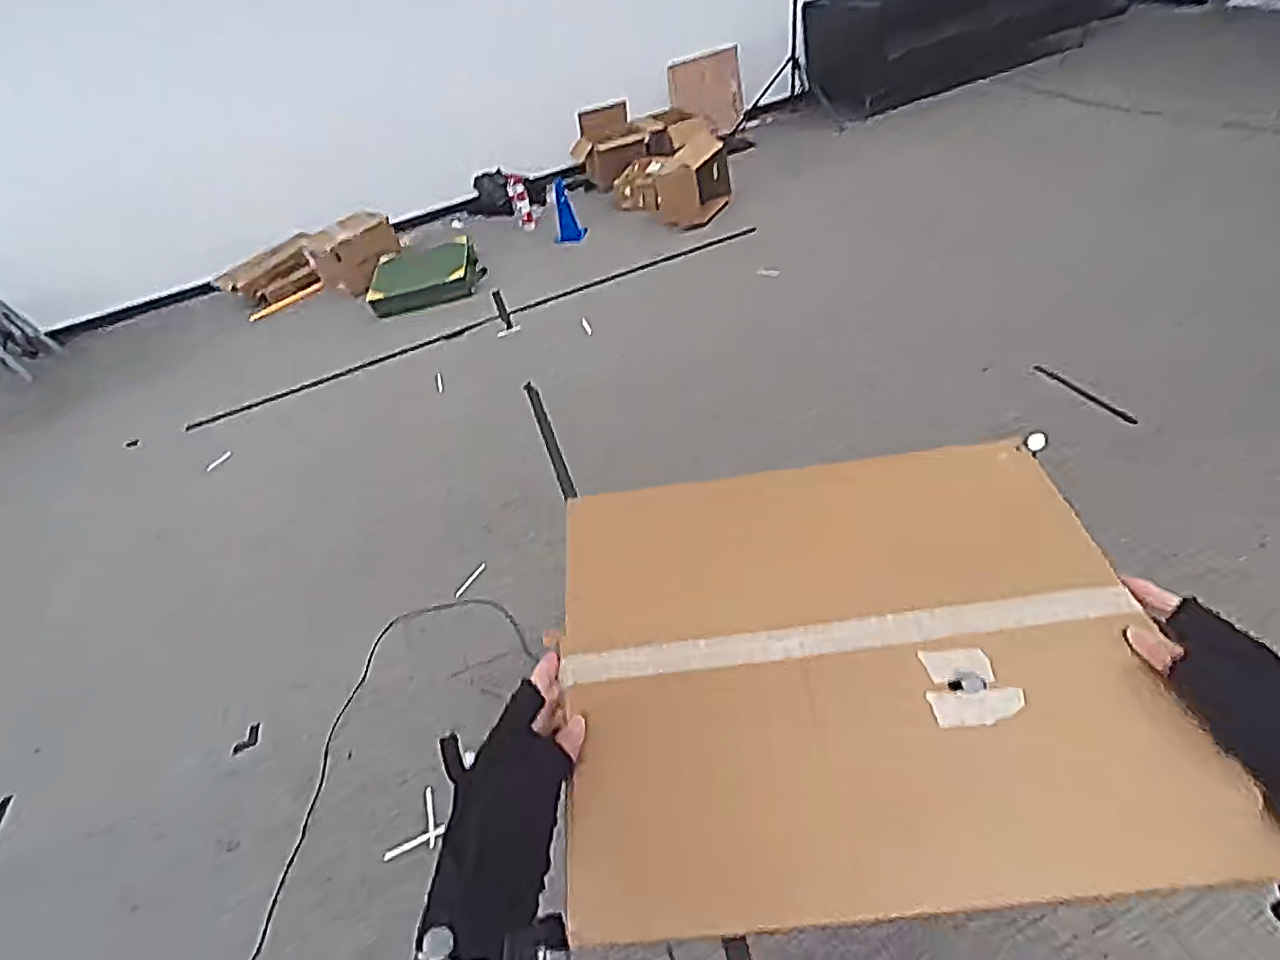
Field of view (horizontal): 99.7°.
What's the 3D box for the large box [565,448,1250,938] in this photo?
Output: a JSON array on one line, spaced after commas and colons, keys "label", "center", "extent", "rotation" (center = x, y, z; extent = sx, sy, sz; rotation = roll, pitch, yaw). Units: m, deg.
[{"label": "large box", "center": [0.156, 0.208, 0.521], "extent": [0.408, 0.320, 0.320], "rotation": [-8, 53, 2]}]
